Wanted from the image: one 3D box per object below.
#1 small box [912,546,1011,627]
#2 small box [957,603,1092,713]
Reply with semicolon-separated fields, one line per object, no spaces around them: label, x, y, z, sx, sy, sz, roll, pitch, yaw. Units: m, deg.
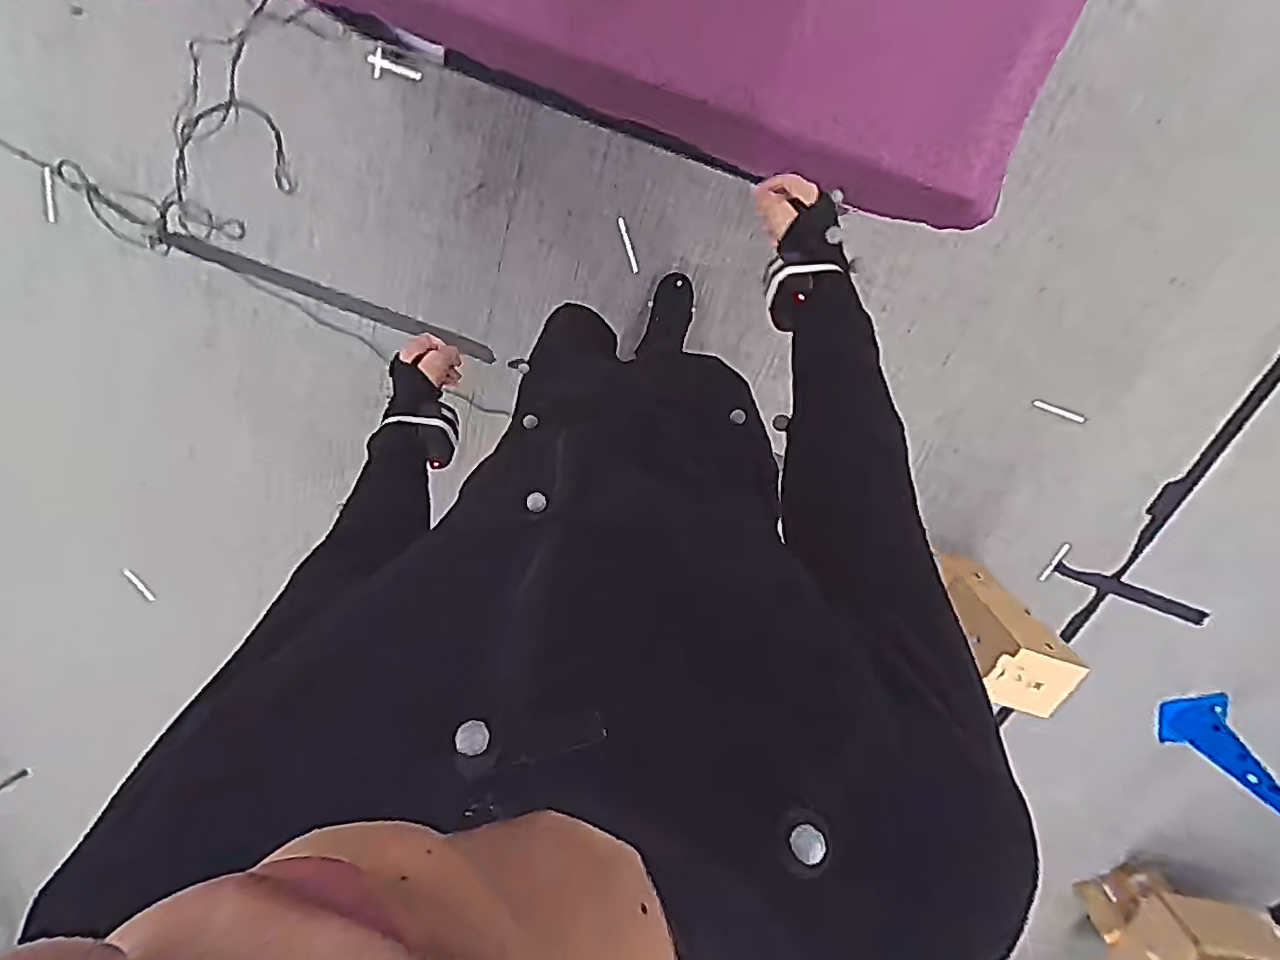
small box;0.963;0.321;1.641;0.179;0.176;0.168;15;113;-1
small box;0.932;0.430;1.329;0.179;0.176;0.168;18;114;-2
